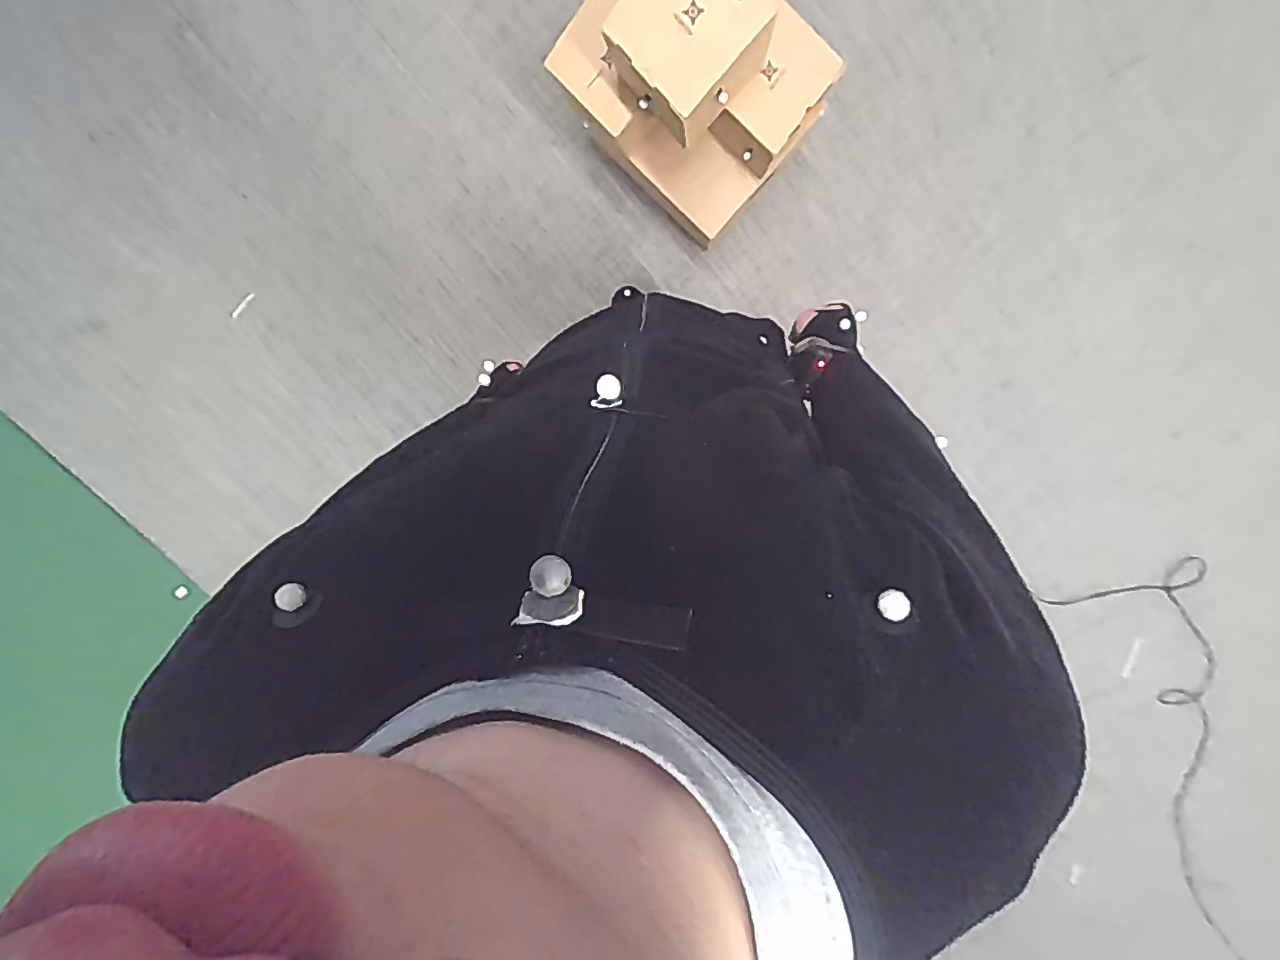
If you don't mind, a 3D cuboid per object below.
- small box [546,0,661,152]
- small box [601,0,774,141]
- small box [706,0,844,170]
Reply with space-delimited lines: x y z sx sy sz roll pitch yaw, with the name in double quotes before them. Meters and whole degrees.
"small box" -0.032 -0.721 0.949 0.168 0.176 0.179 43 110 -9
"small box" 0.072 -0.641 0.790 0.168 0.176 0.179 44 108 -9
"small box" 0.214 -0.676 0.941 0.179 0.176 0.168 39 105 -6
